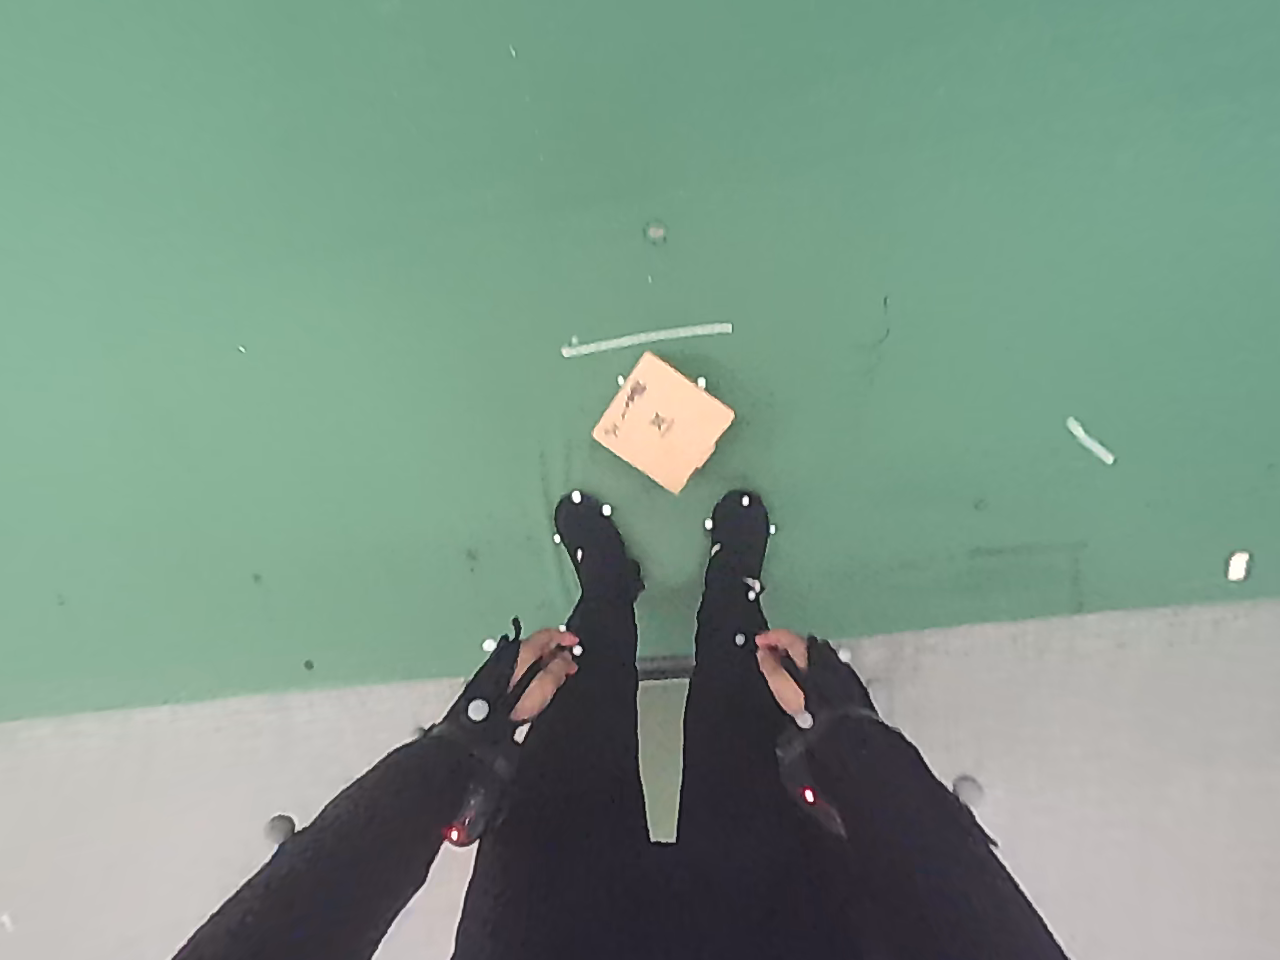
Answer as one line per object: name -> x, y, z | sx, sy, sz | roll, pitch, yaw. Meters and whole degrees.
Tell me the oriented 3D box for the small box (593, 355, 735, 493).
small box -> 0.043, -0.107, 0.951 | 0.179, 0.176, 0.168 | 35, 103, -4
